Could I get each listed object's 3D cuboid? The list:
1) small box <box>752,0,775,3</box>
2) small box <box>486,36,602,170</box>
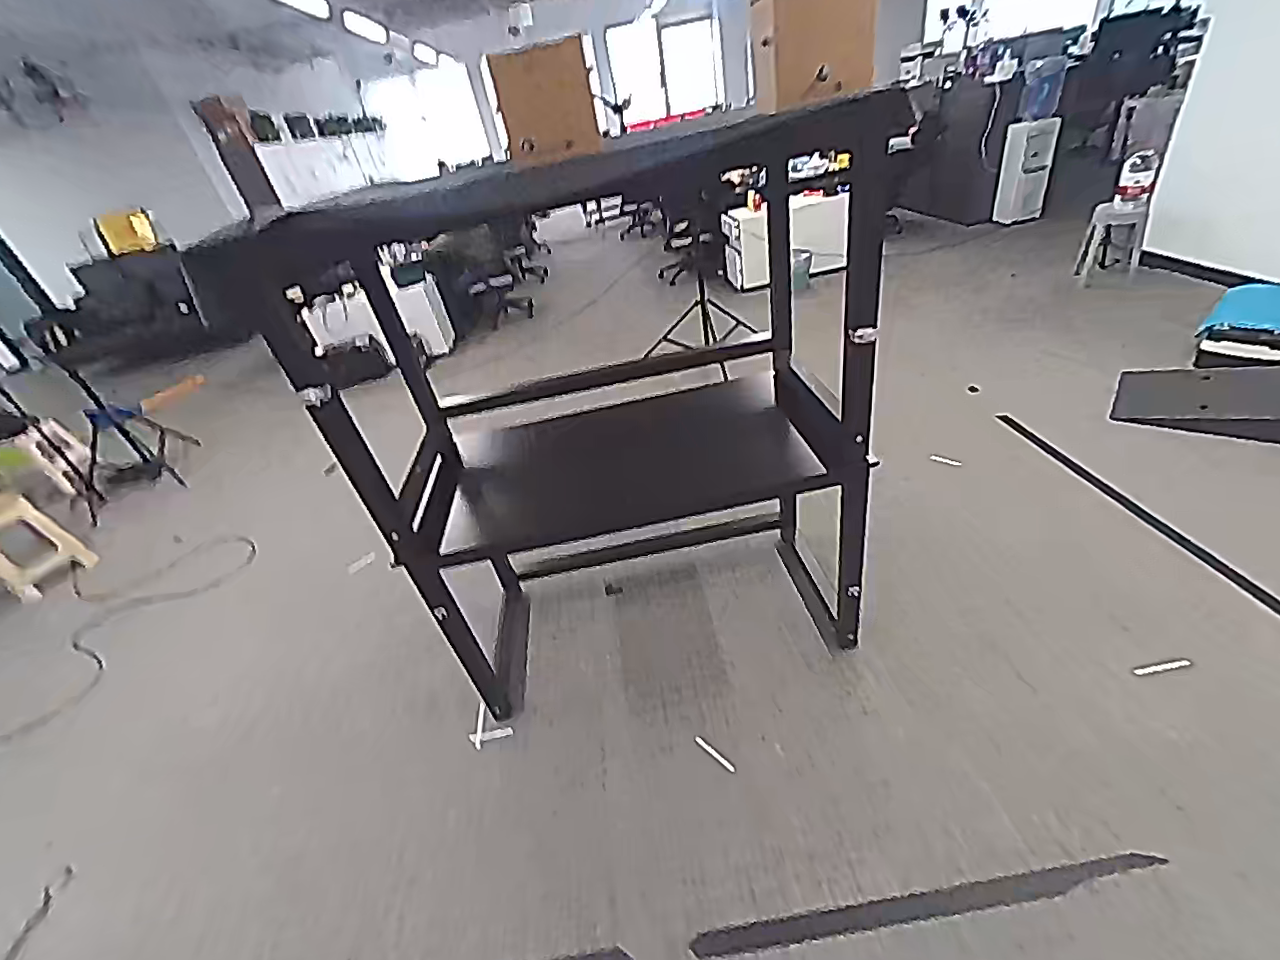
[{"bbox_3d":[0.263,-0.876,0.842,0.168,0.176,0.179,-12,35,2],"label":"small box"},{"bbox_3d":[-0.168,-0.682,0.995,0.168,0.176,0.179,-12,32,0],"label":"small box"}]
